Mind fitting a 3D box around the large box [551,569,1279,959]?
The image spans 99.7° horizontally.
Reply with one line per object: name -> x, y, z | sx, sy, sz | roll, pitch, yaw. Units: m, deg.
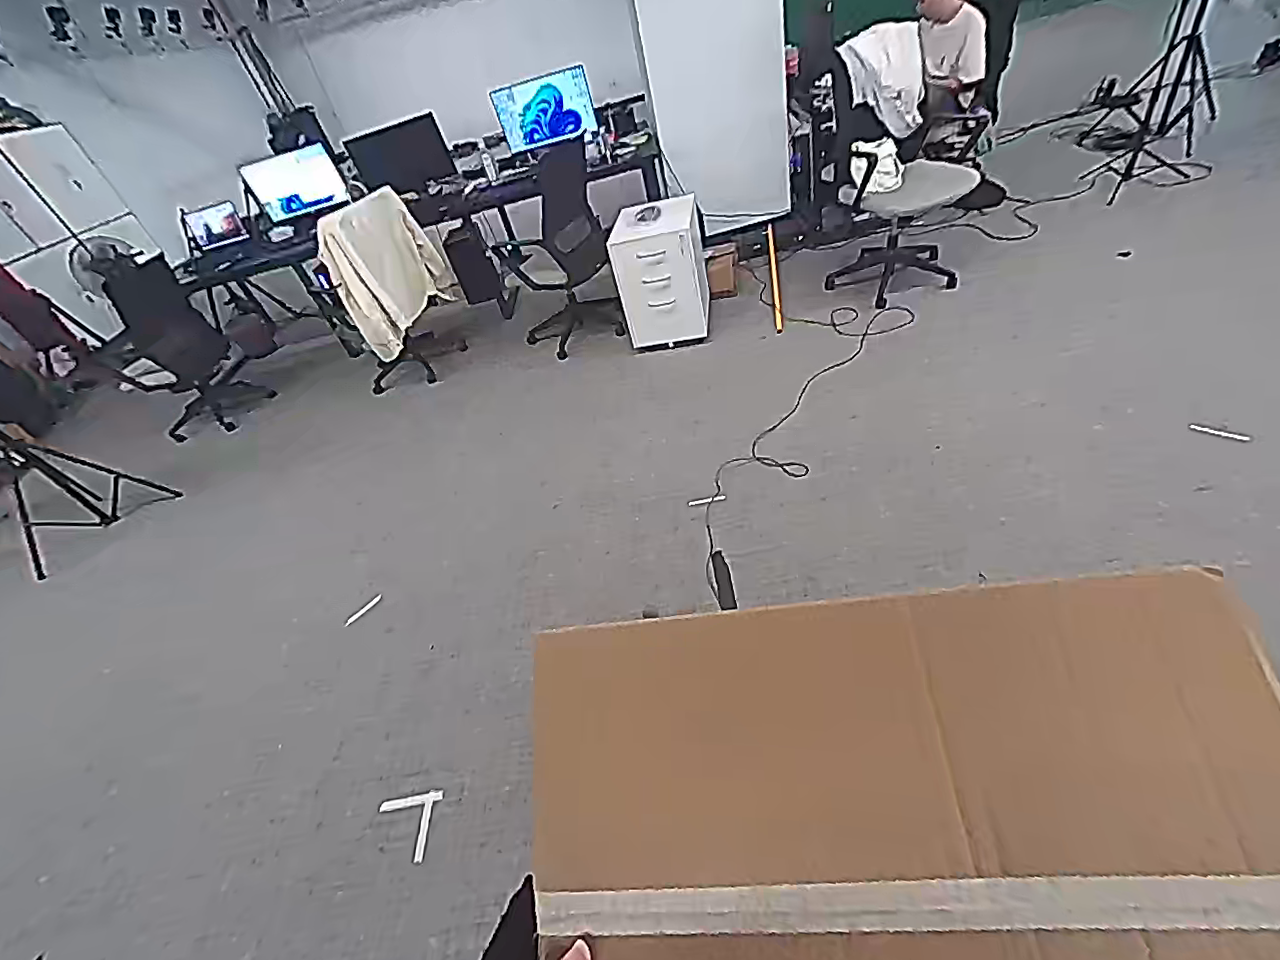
large box -> 0.172, 0.275, 0.428 | 0.408, 0.320, 0.320 | -8, 69, 10
